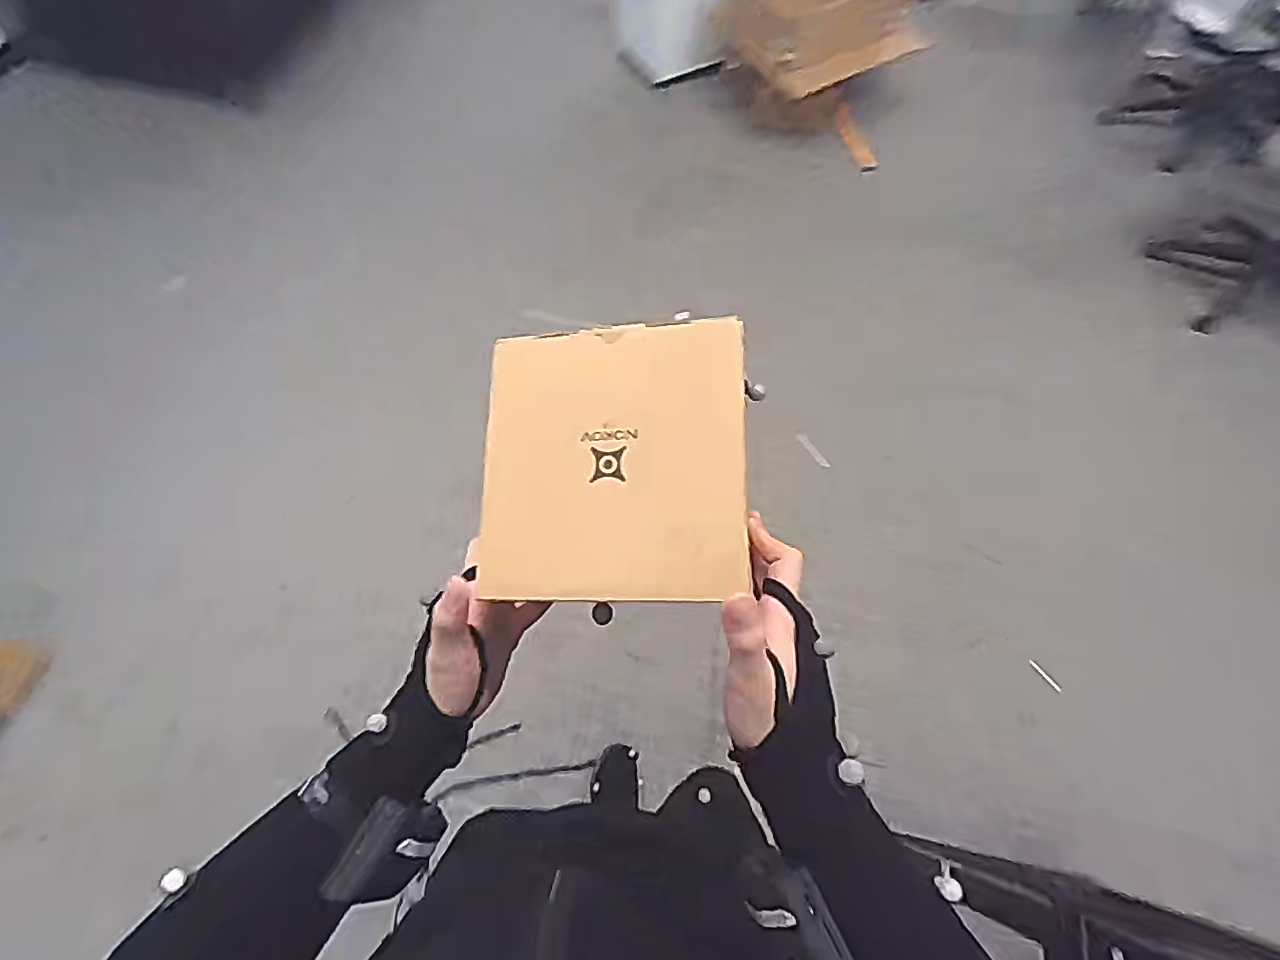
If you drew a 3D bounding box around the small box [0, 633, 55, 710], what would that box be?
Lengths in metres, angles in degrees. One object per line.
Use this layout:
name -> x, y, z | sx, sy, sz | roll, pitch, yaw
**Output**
small box -> -1.680, 0.478, 1.371 | 0.179, 0.176, 0.168 | 14, 66, 6
